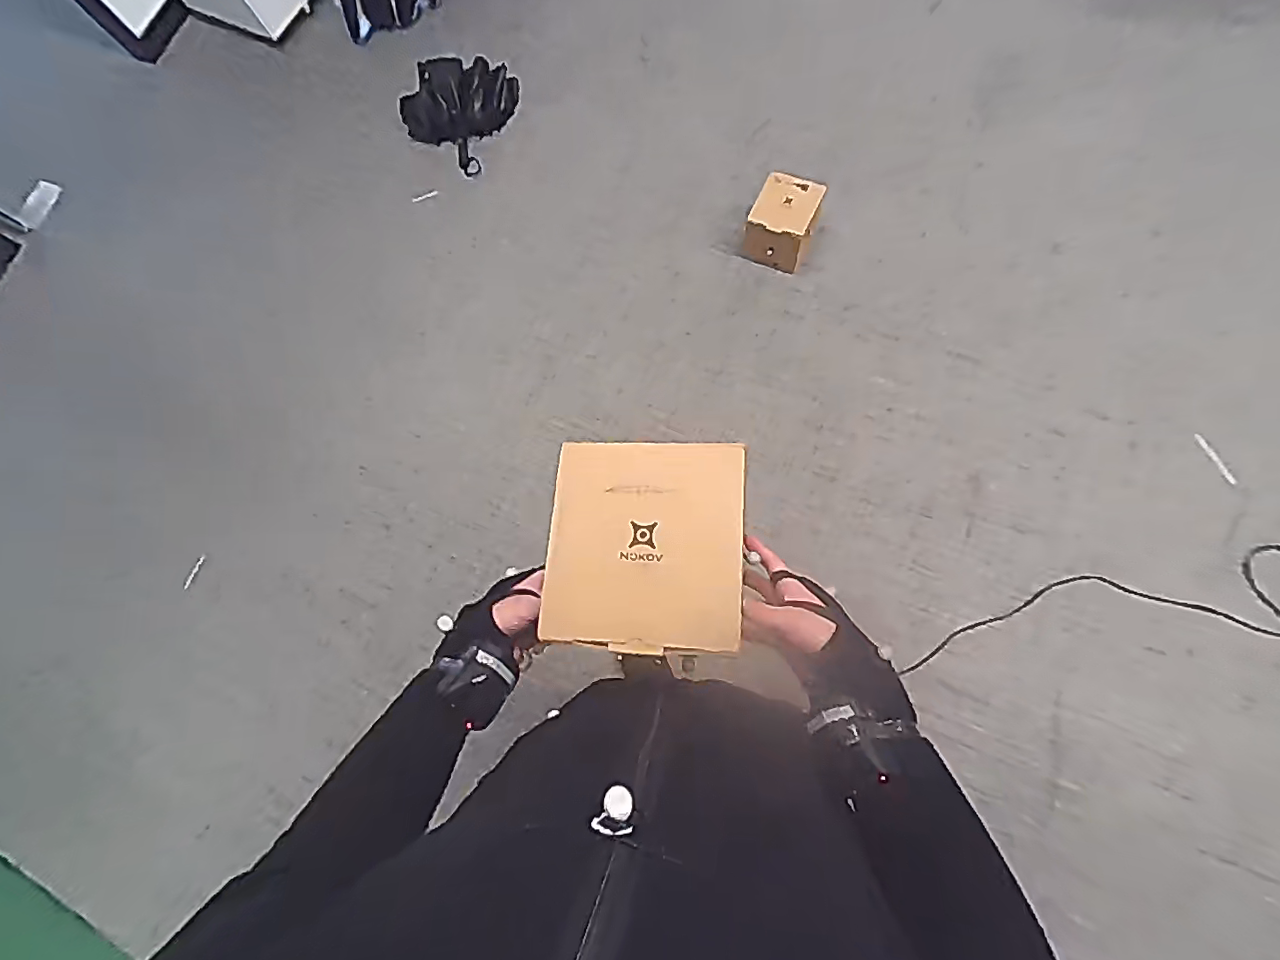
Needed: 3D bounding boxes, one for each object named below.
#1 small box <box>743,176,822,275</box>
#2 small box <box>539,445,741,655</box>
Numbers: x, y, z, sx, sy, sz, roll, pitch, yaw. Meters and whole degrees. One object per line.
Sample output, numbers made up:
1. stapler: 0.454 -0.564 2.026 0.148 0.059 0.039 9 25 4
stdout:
1. small box: 0.409 -0.734 1.577 0.168 0.176 0.179 25 81 13
2. small box: 0.014 0.077 0.533 0.168 0.176 0.179 1 71 10
